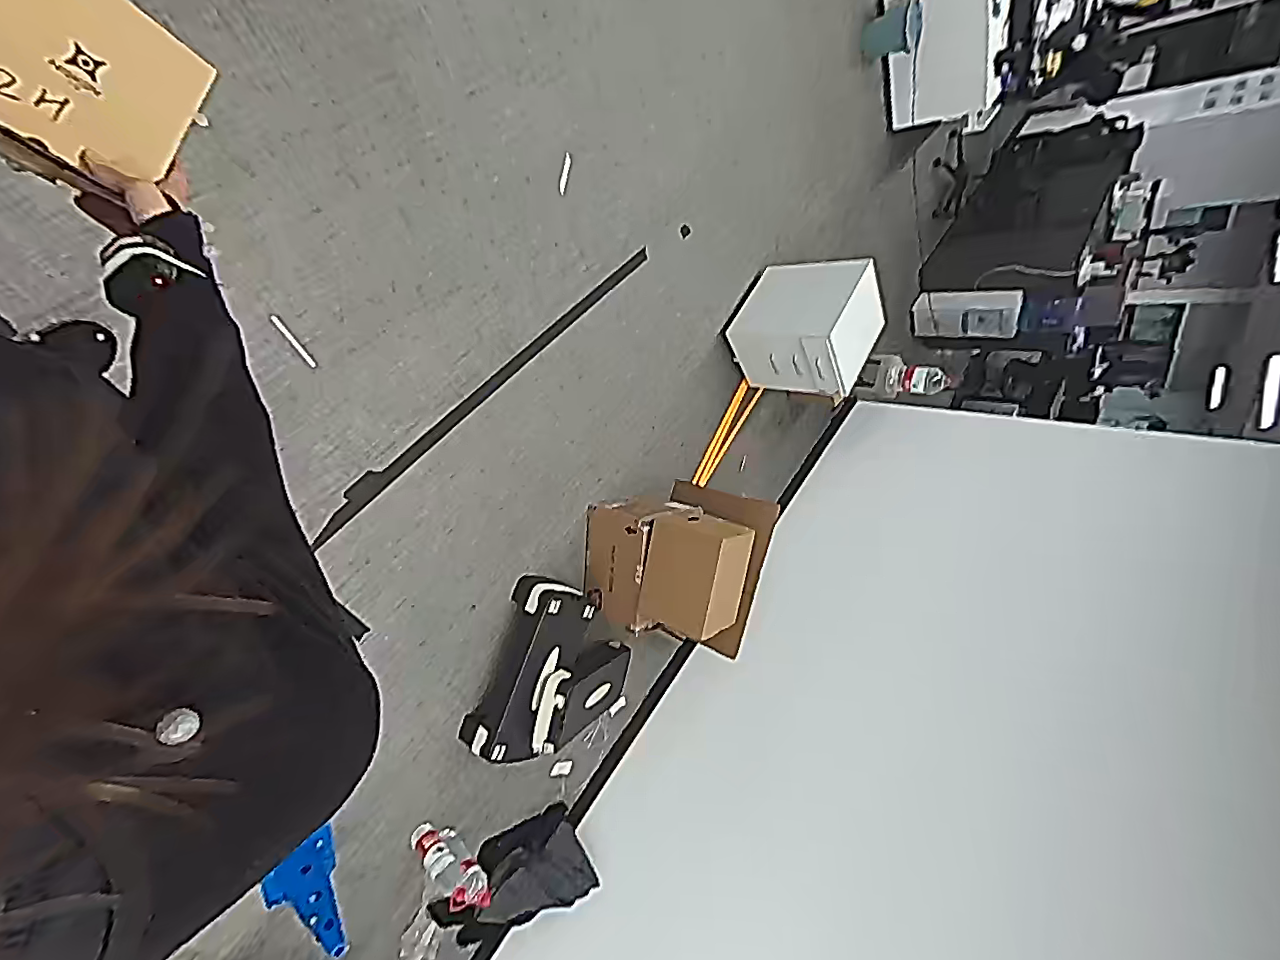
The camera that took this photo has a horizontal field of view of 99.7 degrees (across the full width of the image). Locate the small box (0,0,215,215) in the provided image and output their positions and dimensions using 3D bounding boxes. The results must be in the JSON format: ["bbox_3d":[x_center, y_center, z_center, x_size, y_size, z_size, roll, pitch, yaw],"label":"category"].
[{"bbox_3d":[-0.599,-0.408,0.567,0.168,0.176,0.179,29,84,-53],"label":"small box"}]
